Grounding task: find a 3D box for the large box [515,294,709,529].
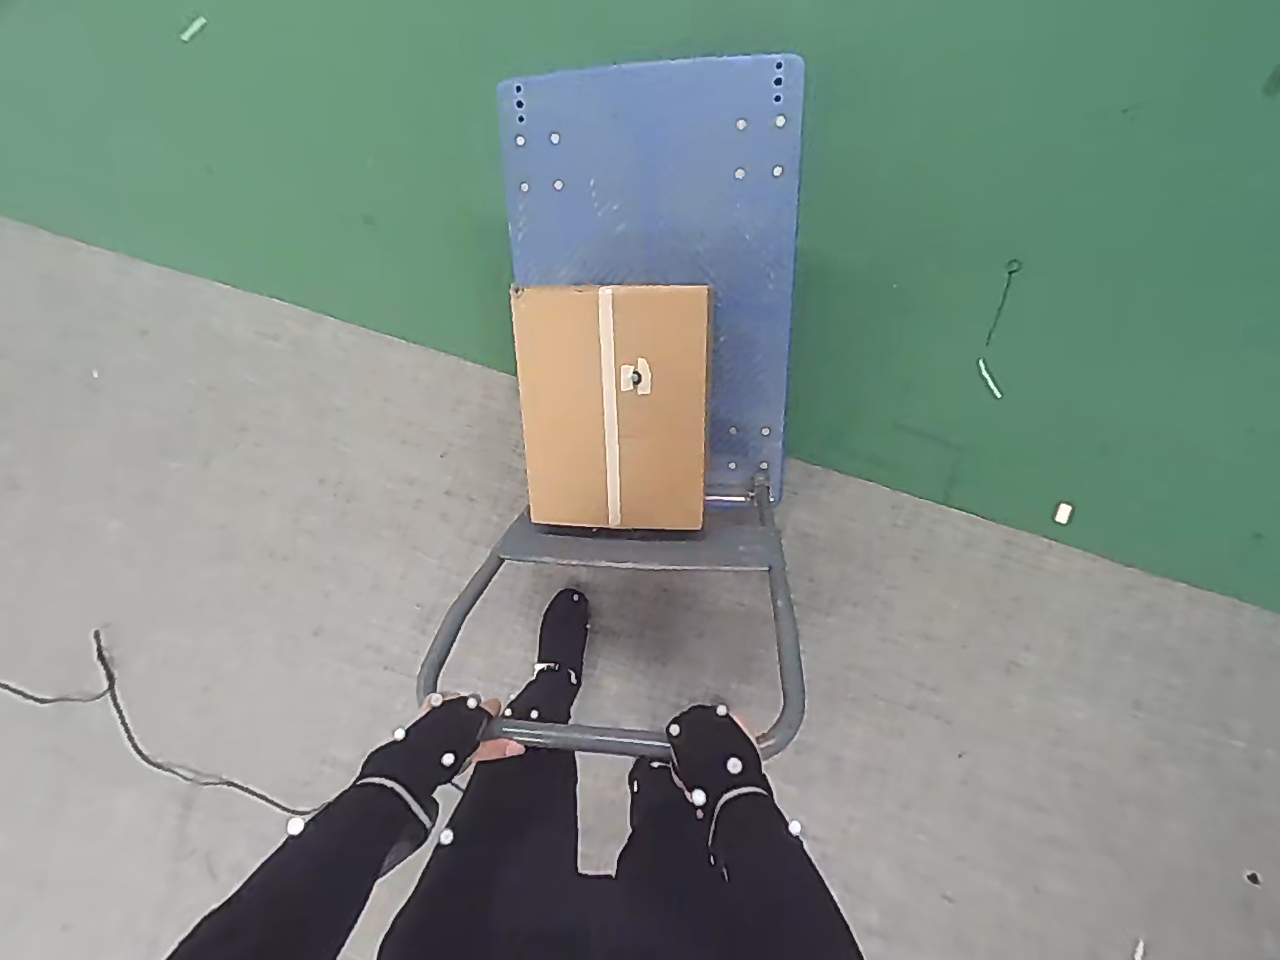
[{"bbox_3d":[-0.026,-0.147,1.066,0.320,0.320,0.408,1,108,8],"label":"large box"}]
